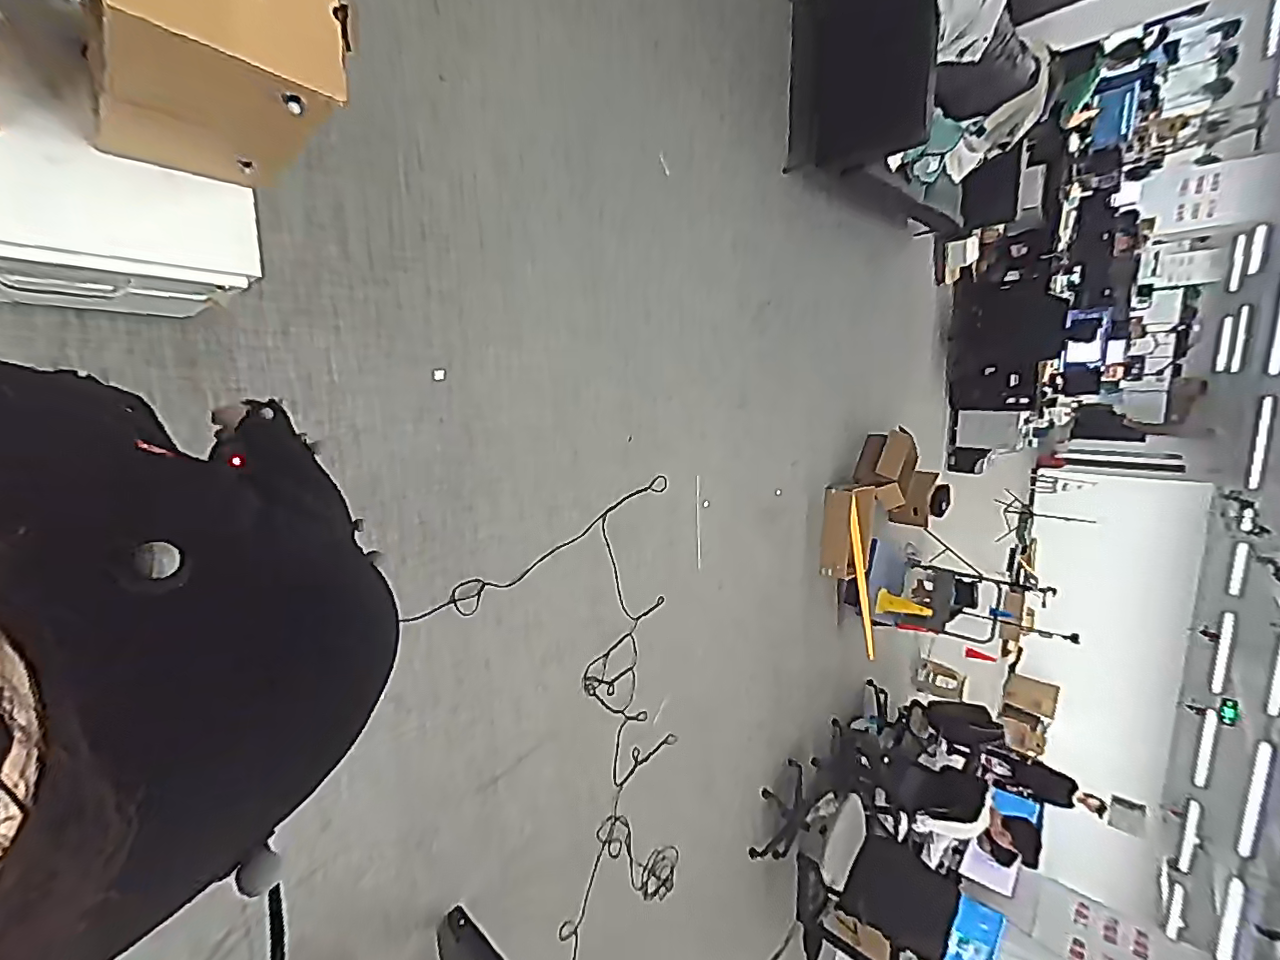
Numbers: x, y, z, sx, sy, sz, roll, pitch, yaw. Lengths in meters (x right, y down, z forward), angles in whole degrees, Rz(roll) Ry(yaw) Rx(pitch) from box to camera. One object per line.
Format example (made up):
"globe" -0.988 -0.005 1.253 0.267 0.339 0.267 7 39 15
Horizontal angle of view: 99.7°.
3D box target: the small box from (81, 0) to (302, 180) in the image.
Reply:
"small box" -0.526 -0.478 0.638 0.179 0.176 0.168 -7 101 -45
